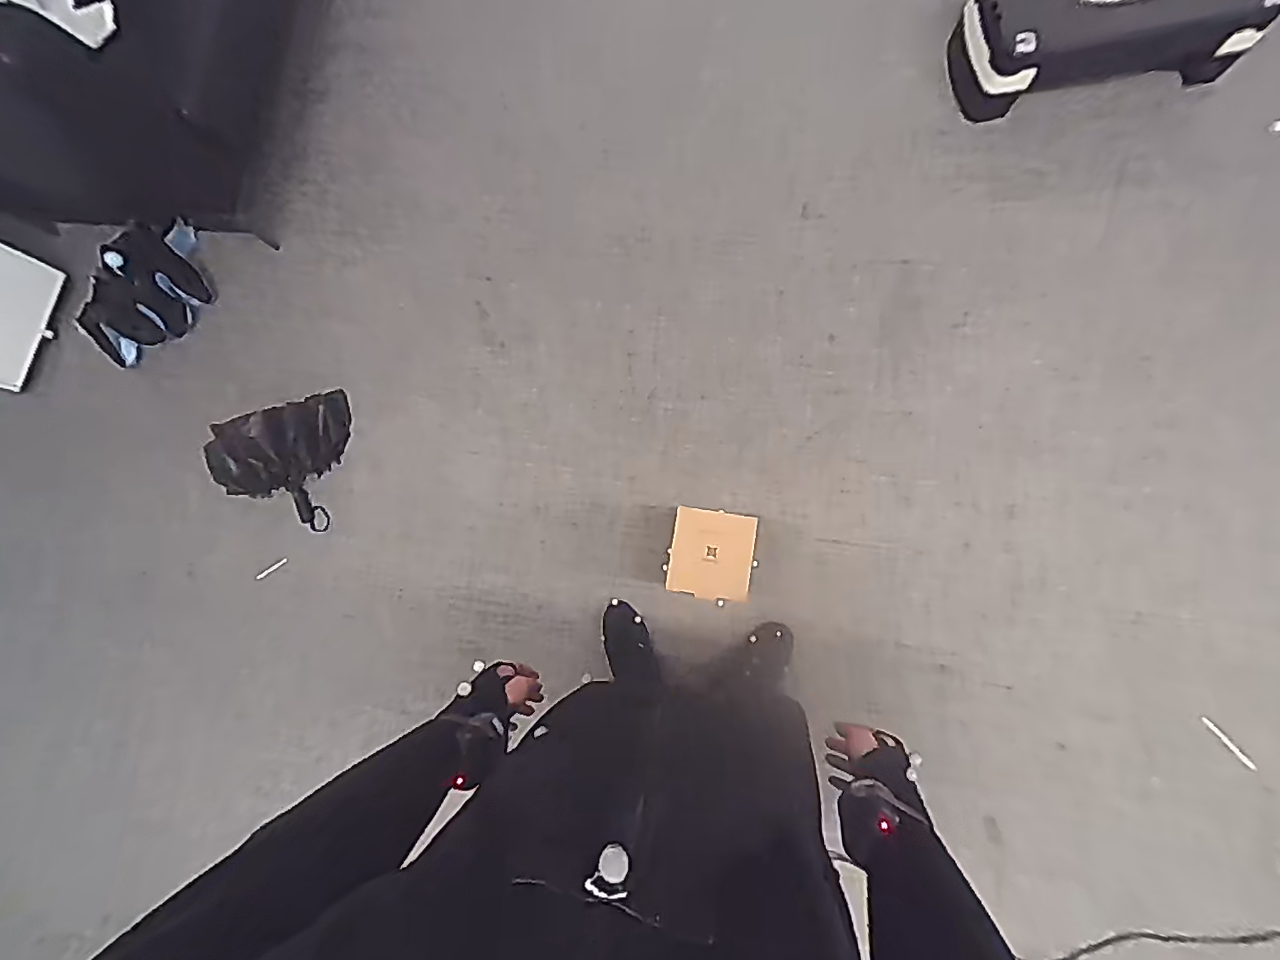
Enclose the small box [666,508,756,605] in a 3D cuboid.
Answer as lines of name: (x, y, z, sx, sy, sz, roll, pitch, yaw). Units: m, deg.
small box: (0.153, 0.167, 1.176, 0.168, 0.176, 0.179, 8, 81, 6)
